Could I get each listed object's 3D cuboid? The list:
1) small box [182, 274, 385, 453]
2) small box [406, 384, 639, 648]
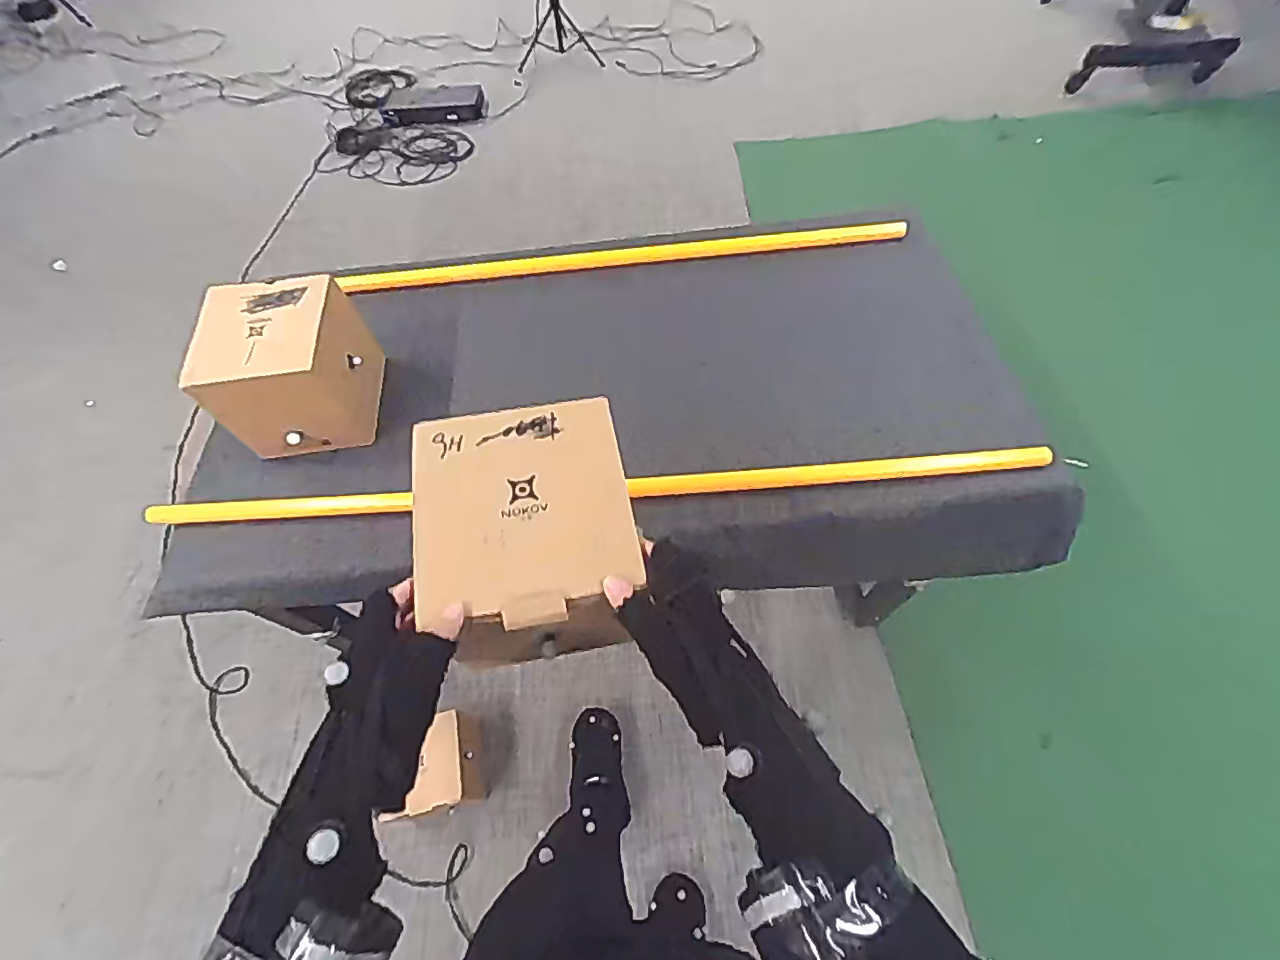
[{"bbox_3d":[-0.486,-0.162,0.771,0.168,0.176,0.179,-8,61,-1],"label":"small box"},{"bbox_3d":[-0.097,0.044,0.496,0.168,0.176,0.179,-13,63,-7],"label":"small box"}]
